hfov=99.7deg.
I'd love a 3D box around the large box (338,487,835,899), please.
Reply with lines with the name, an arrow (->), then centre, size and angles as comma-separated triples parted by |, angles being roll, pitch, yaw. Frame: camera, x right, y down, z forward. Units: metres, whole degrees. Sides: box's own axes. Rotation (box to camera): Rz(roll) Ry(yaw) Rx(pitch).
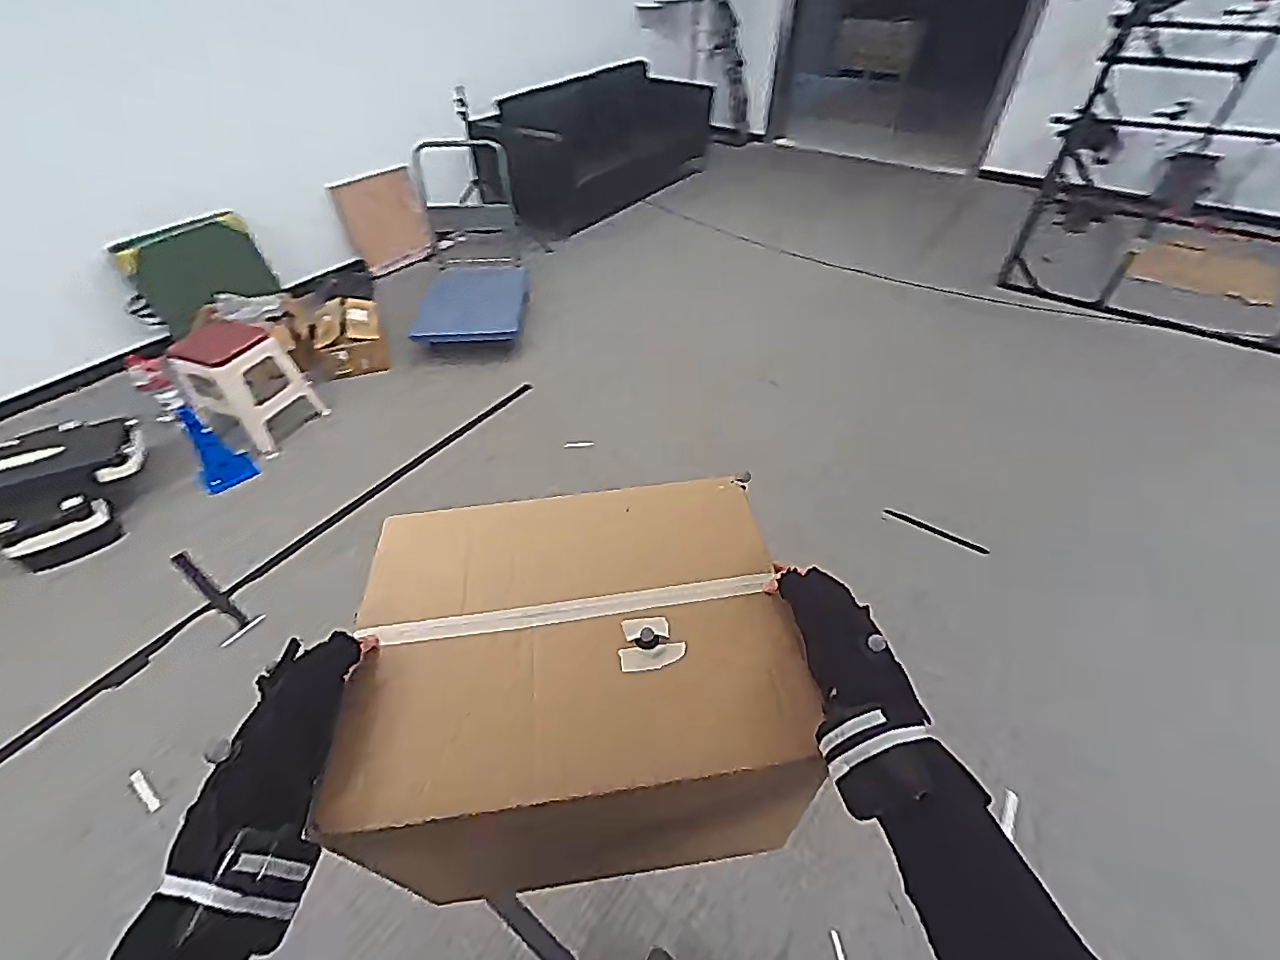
large box -> -0.051, 0.242, 0.632 | 0.408, 0.320, 0.320 | -6, 45, -4
